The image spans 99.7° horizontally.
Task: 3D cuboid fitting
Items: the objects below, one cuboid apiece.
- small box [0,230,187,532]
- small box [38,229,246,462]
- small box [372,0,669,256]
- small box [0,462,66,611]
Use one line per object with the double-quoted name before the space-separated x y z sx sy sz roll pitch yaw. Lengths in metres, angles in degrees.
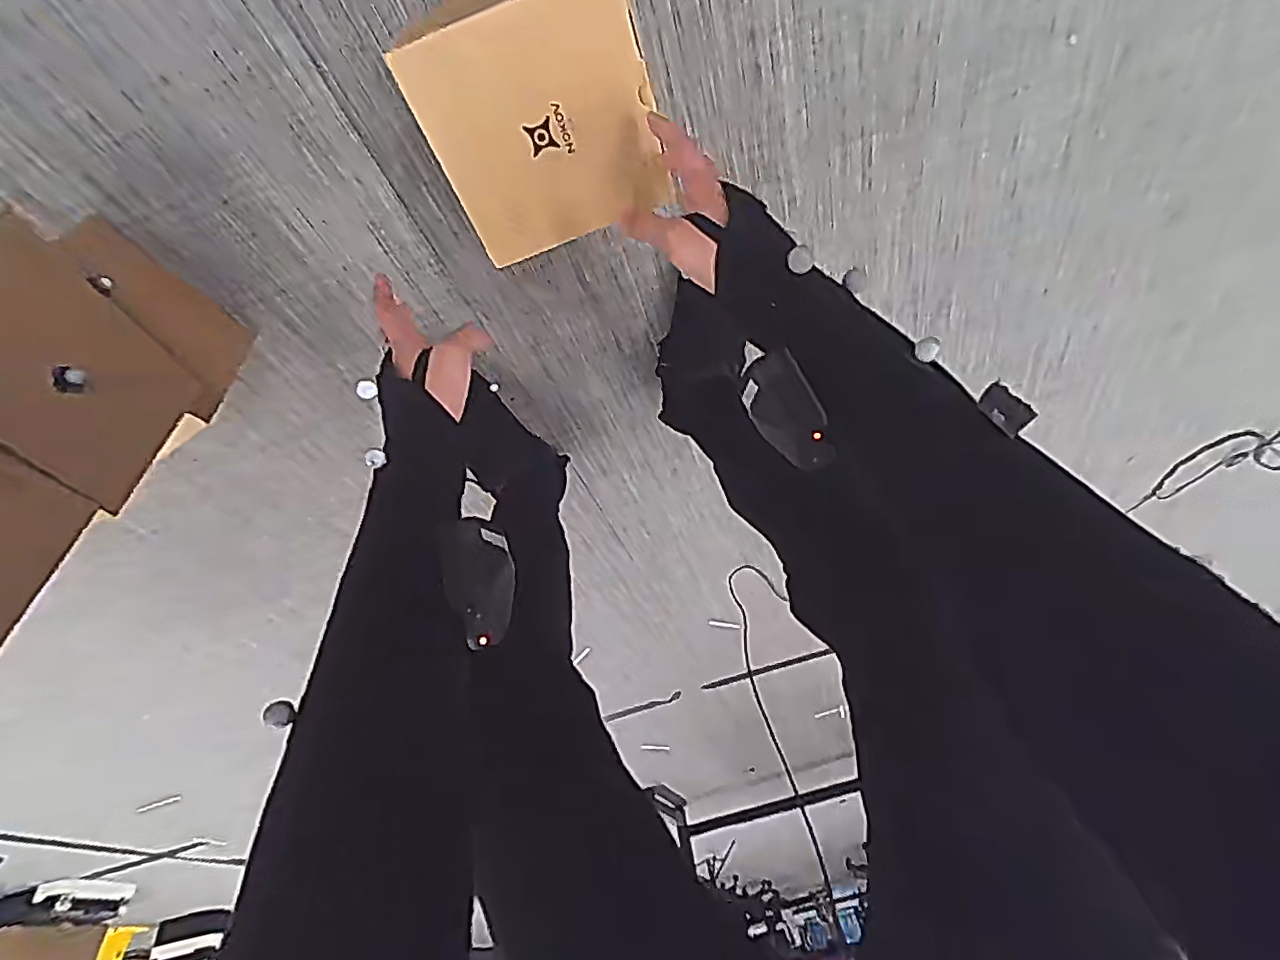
"small box" -0.502 -0.064 0.397 0.168 0.176 0.179 -17 138 4
"small box" -0.562 -0.127 0.556 0.168 0.176 0.179 -27 136 15
"small box" -0.092 -0.332 0.467 0.179 0.176 0.168 -20 137 5
"small box" -0.488 0.058 0.287 0.179 0.176 0.168 -22 137 10
